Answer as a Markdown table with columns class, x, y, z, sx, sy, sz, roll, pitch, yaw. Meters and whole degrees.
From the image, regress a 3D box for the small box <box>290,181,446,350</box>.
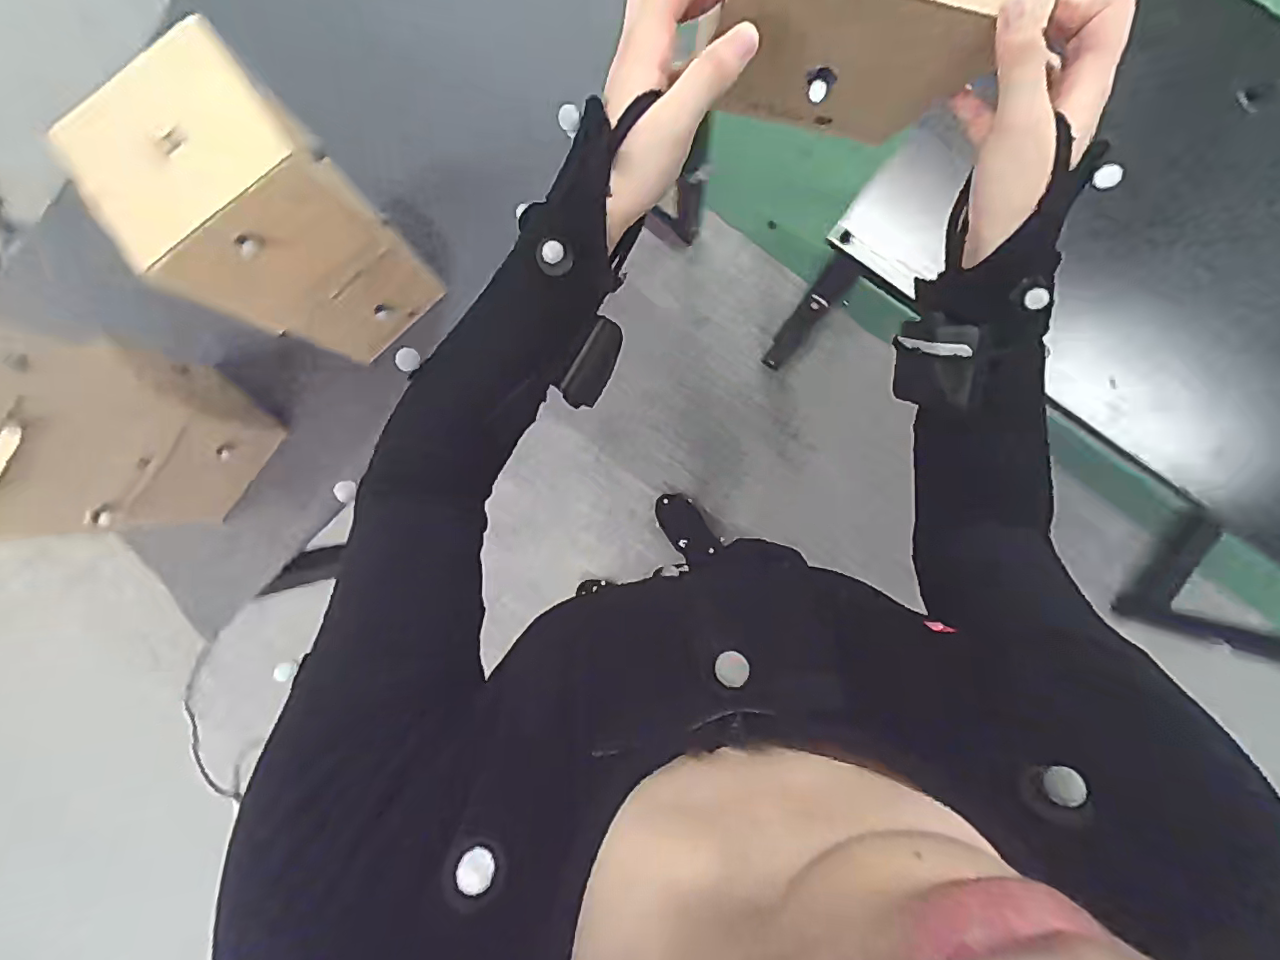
| class | x | y | z | sx | sy | sz | roll | pitch | yaw |
| --- | --- | --- | --- | --- | --- | --- | --- | --- | --- |
| small box | -0.396 | -0.293 | 0.720 | 0.168 | 0.176 | 0.179 | -42 | 86 | 3 |

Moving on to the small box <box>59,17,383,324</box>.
| class | x | y | z | sx | sy | sz | roll | pitch | yaw |
| --- | --- | --- | --- | --- | --- | --- | --- | --- | --- |
| small box | -0.400 | -0.295 | 0.556 | 0.179 | 0.176 | 0.168 | -37 | 86 | 4 |

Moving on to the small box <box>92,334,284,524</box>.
| class | x | y | z | sx | sy | sz | roll | pitch | yaw |
| --- | --- | --- | --- | --- | --- | --- | --- | --- | --- |
| small box | -0.634 | -0.060 | 0.733 | 0.168 | 0.176 | 0.179 | 38 | 92 | 6 |
